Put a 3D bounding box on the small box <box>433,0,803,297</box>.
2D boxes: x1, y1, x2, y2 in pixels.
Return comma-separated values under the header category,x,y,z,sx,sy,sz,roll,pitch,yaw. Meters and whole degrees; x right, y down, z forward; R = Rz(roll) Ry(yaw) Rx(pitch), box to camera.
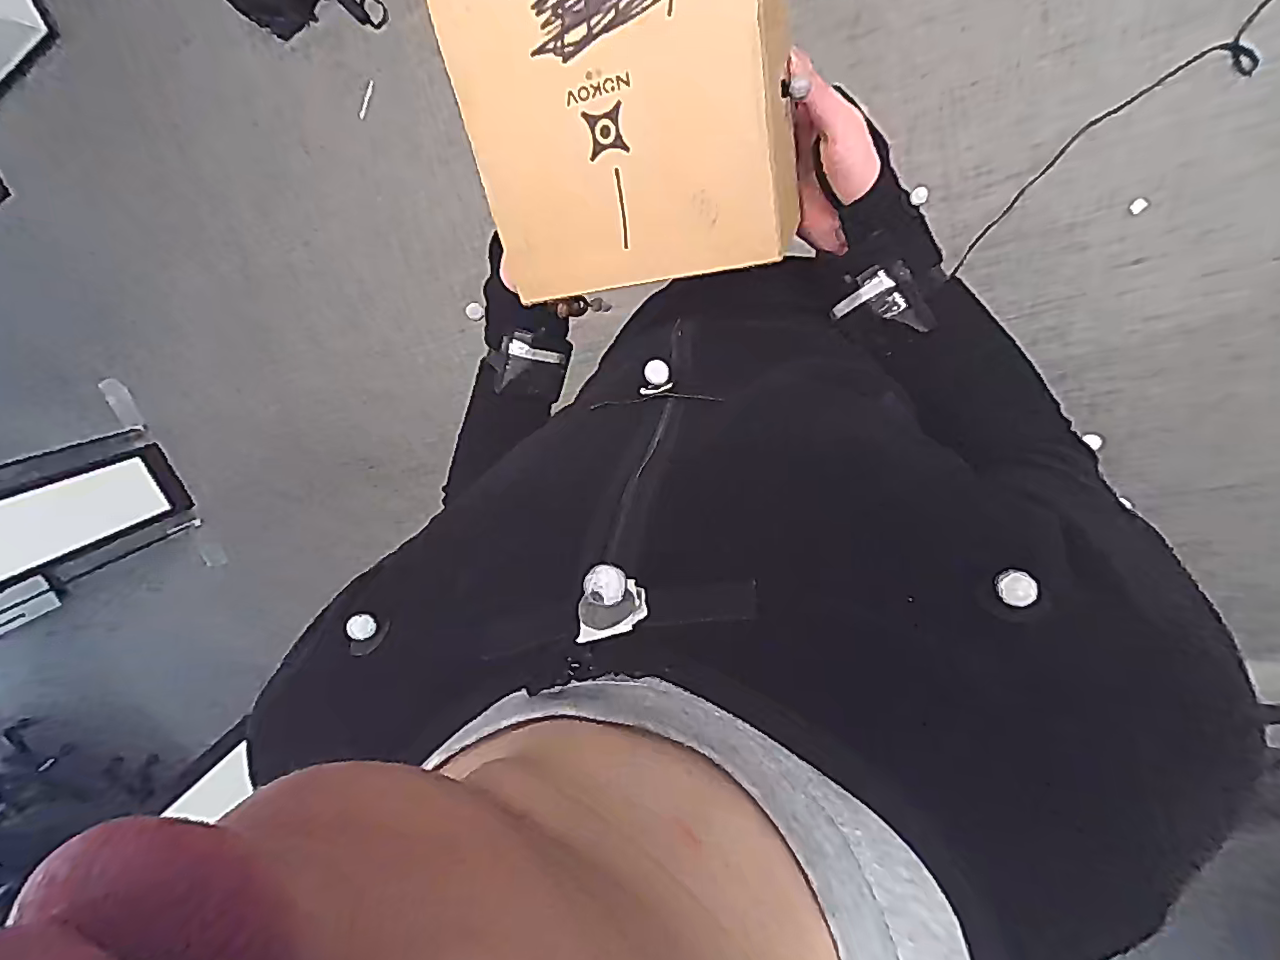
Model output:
category,x,y,z,sx,sy,sz,roll,pitch,yaw
small box,0.008,-0.232,0.337,0.168,0.176,0.179,-1,122,22
